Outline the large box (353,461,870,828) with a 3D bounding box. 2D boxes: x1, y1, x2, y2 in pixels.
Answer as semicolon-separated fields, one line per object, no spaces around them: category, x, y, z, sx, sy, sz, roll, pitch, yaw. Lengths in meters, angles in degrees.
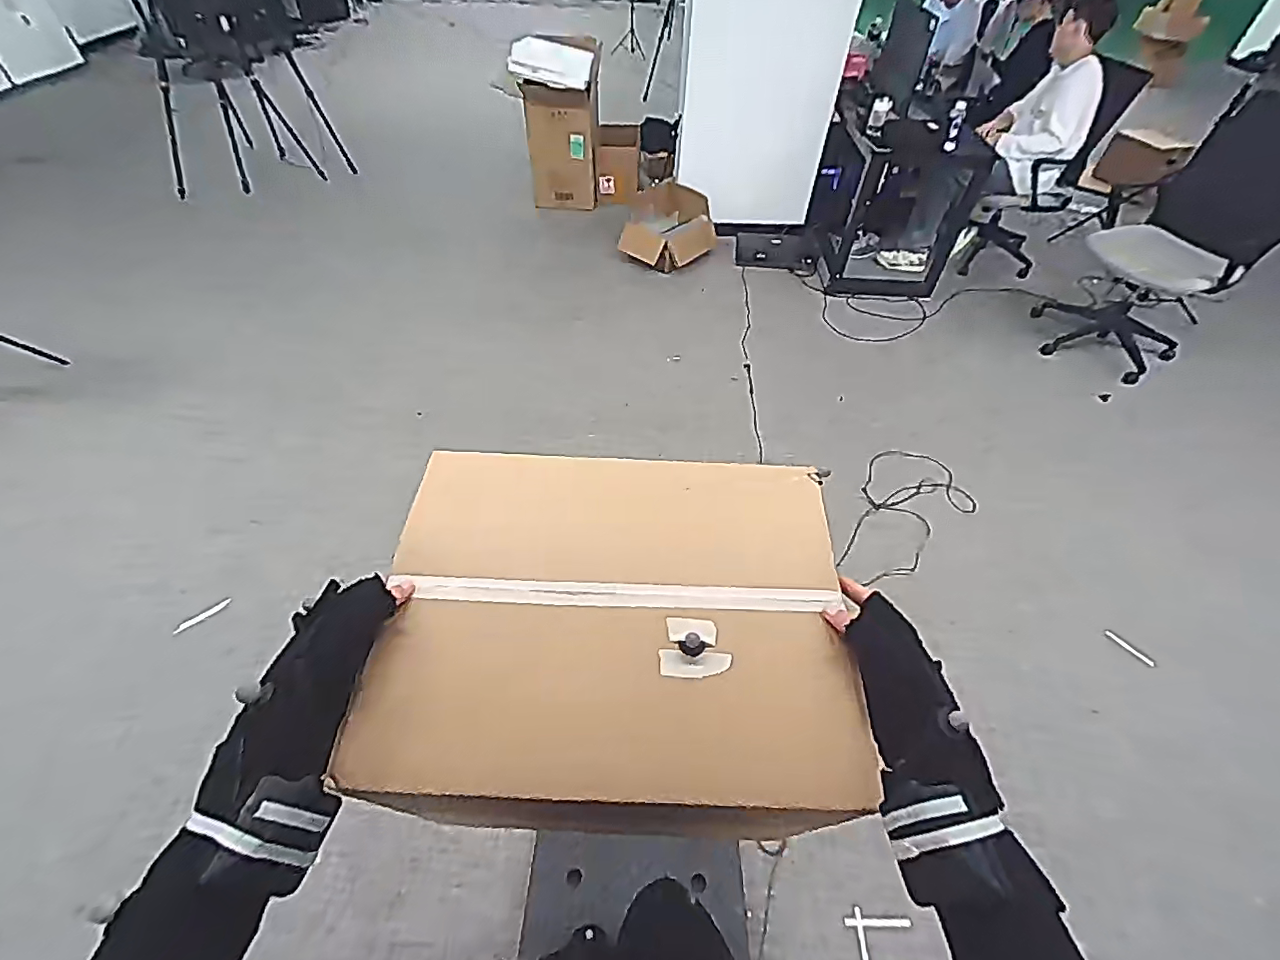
large box;-0.023;0.197;0.615;0.408;0.320;0.320;3;54;0
